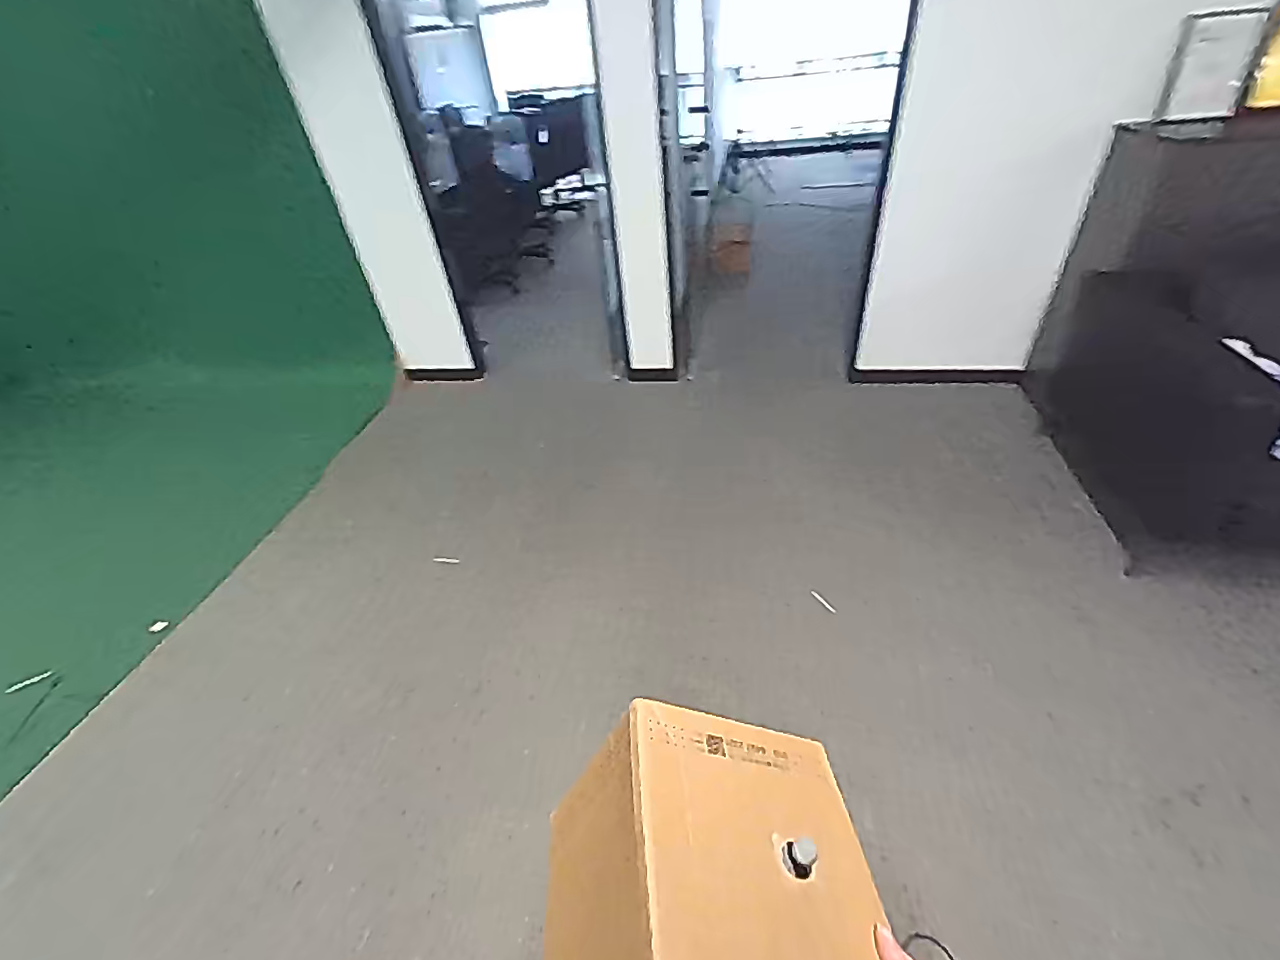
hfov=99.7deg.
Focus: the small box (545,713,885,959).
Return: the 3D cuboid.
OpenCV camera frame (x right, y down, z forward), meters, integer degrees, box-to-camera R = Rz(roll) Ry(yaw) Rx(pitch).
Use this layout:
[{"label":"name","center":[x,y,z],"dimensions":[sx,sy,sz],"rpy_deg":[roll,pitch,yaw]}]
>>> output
[{"label":"small box","center":[0.033,0.297,0.387],"dimensions":[0.168,0.179,0.176],"rpy_deg":[19,29,-16]}]
